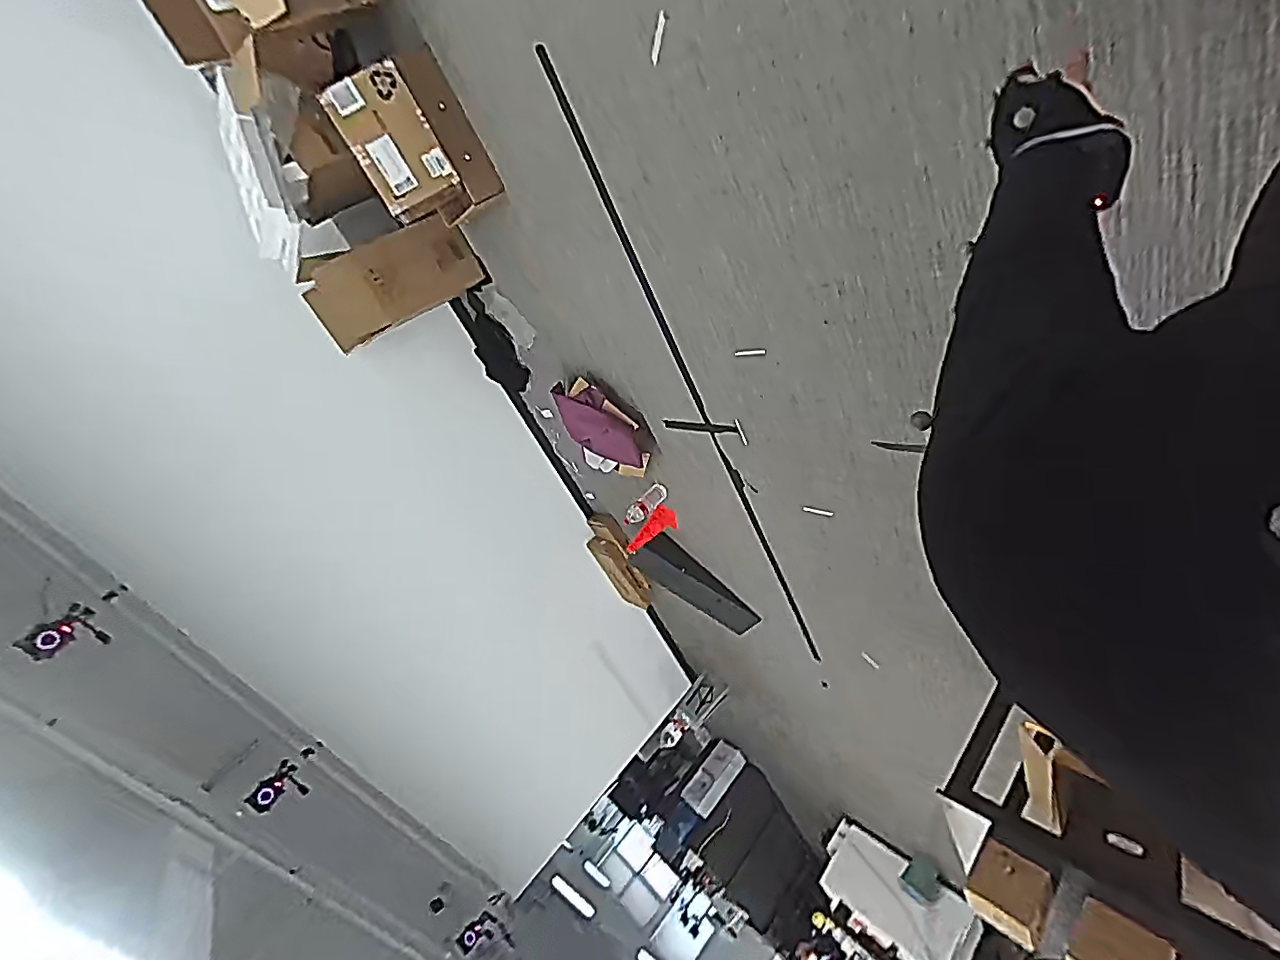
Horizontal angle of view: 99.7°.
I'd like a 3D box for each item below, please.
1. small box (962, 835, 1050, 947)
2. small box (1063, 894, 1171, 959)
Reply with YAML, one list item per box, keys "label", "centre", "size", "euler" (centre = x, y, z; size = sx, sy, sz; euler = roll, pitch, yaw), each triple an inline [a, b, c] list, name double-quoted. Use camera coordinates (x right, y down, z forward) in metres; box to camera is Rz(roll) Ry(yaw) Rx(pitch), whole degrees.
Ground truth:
- label: "small box"
  centre: [1.070, 1.190, 1.574]
  size: [0.168, 0.176, 0.179]
  euler: [12, 139, 51]
- label: "small box"
  centre: [1.220, 1.223, 1.383]
  size: [0.179, 0.176, 0.168]
  euler: [14, 140, 52]
